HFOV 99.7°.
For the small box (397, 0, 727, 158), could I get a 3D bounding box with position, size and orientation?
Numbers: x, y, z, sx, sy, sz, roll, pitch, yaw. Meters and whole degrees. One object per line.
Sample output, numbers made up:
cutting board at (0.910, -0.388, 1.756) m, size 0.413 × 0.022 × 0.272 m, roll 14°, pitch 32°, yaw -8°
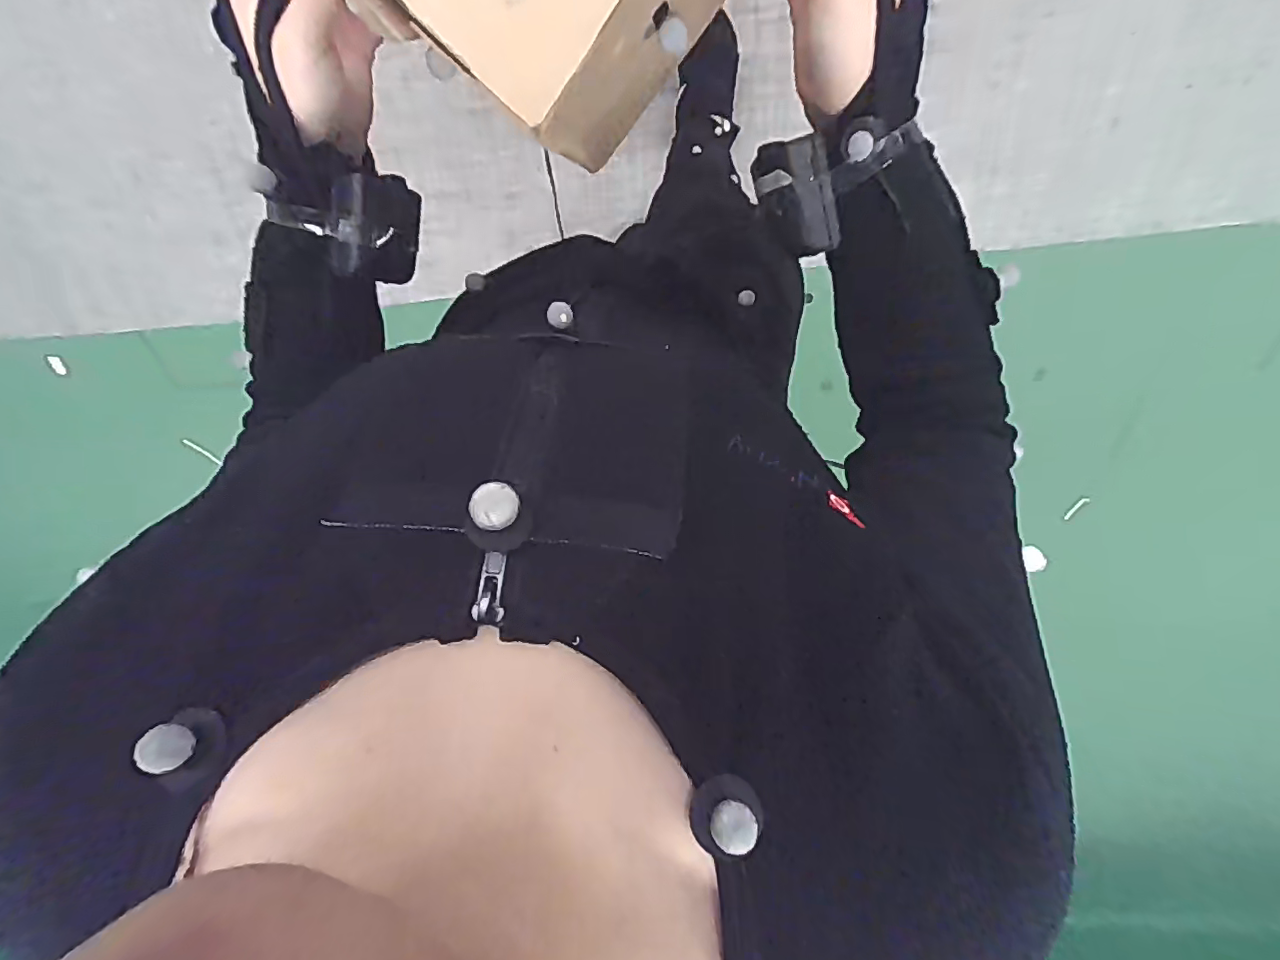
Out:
small box at (-0.036, -0.282, 0.246) m, size 0.168 × 0.176 × 0.179 m, roll 39°, pitch 113°, yaw -13°
